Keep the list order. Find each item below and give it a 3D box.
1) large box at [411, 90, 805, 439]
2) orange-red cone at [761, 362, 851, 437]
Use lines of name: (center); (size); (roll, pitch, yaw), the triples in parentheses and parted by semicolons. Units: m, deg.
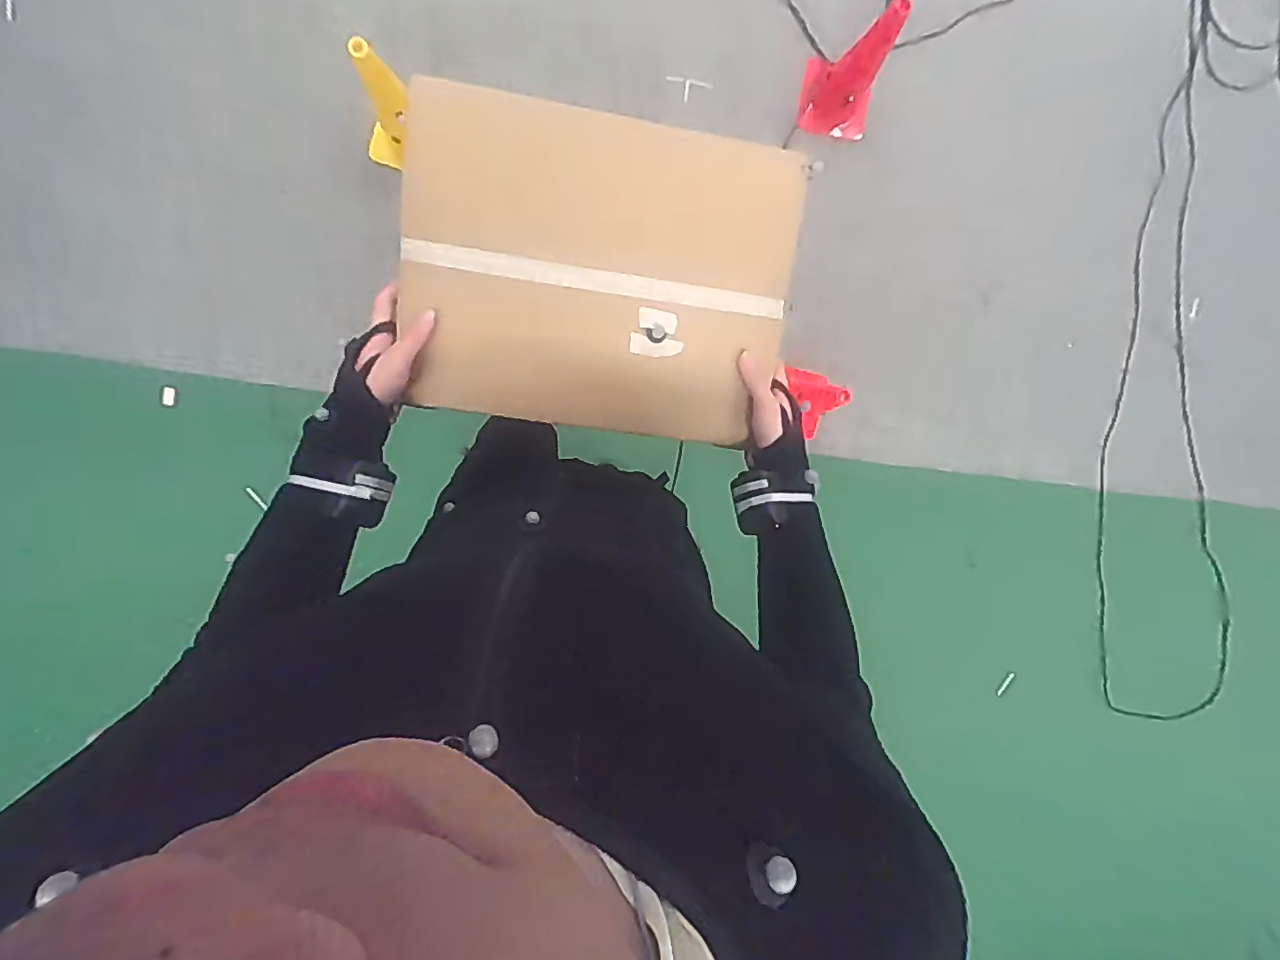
large box: (-0.054, -0.246, 0.724); (0.408, 0.320, 0.320); (6, 103, -8)
orange-red cone: (0.474, -0.221, 1.473); (0.199, 0.360, 0.198); (14, 96, -8)
